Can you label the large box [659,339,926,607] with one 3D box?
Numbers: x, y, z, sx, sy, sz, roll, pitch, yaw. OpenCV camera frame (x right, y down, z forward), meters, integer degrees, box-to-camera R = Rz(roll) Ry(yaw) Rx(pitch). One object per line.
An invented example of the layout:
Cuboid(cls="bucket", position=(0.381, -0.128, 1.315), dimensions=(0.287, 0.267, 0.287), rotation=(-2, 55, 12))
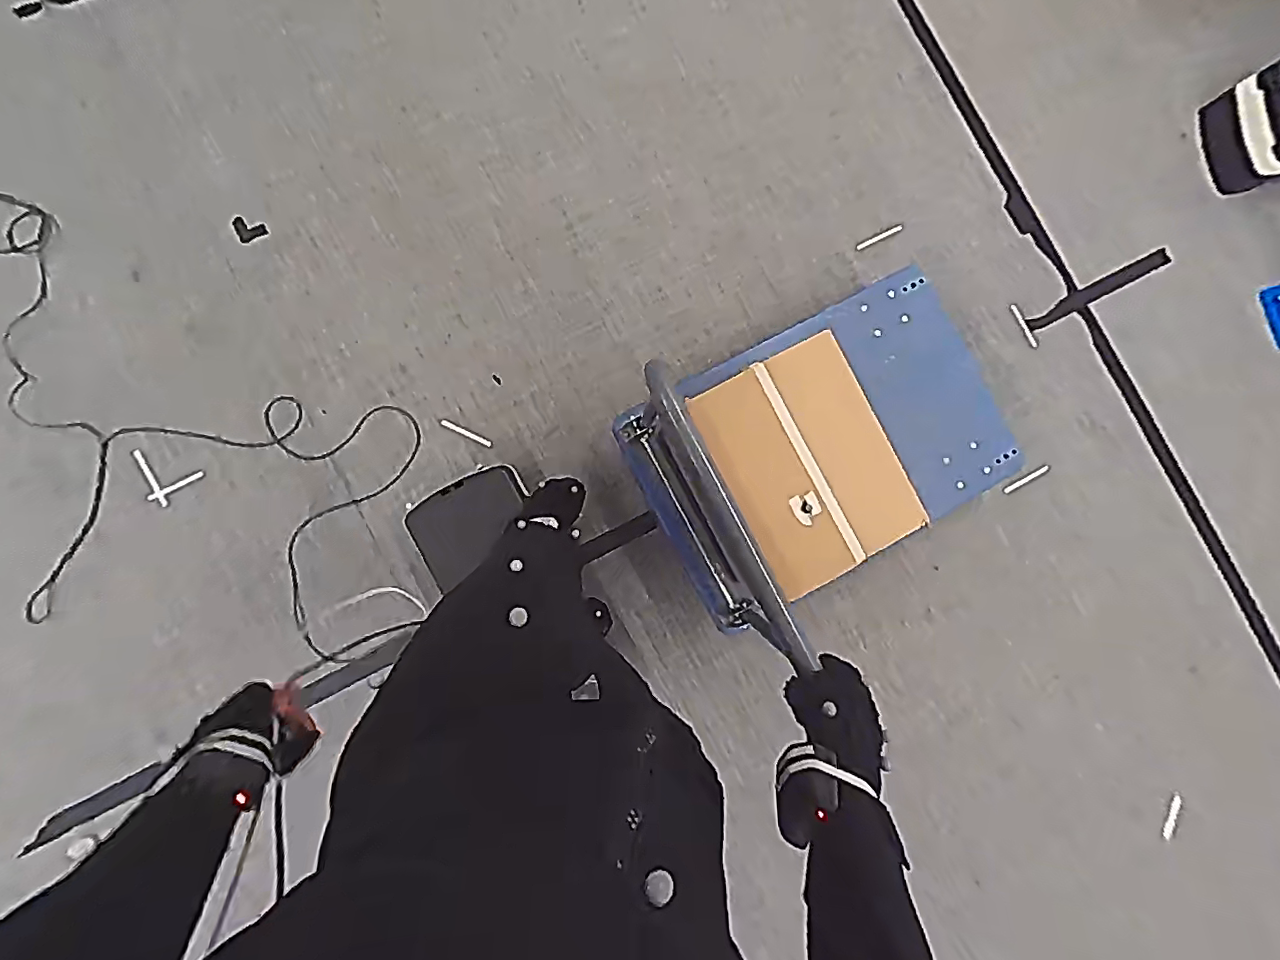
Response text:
Cuboid(cls="large box", position=(0.281, -0.010, 1.116), dimensions=(0.320, 0.320, 0.408), rotation=(-28, 91, -6))
